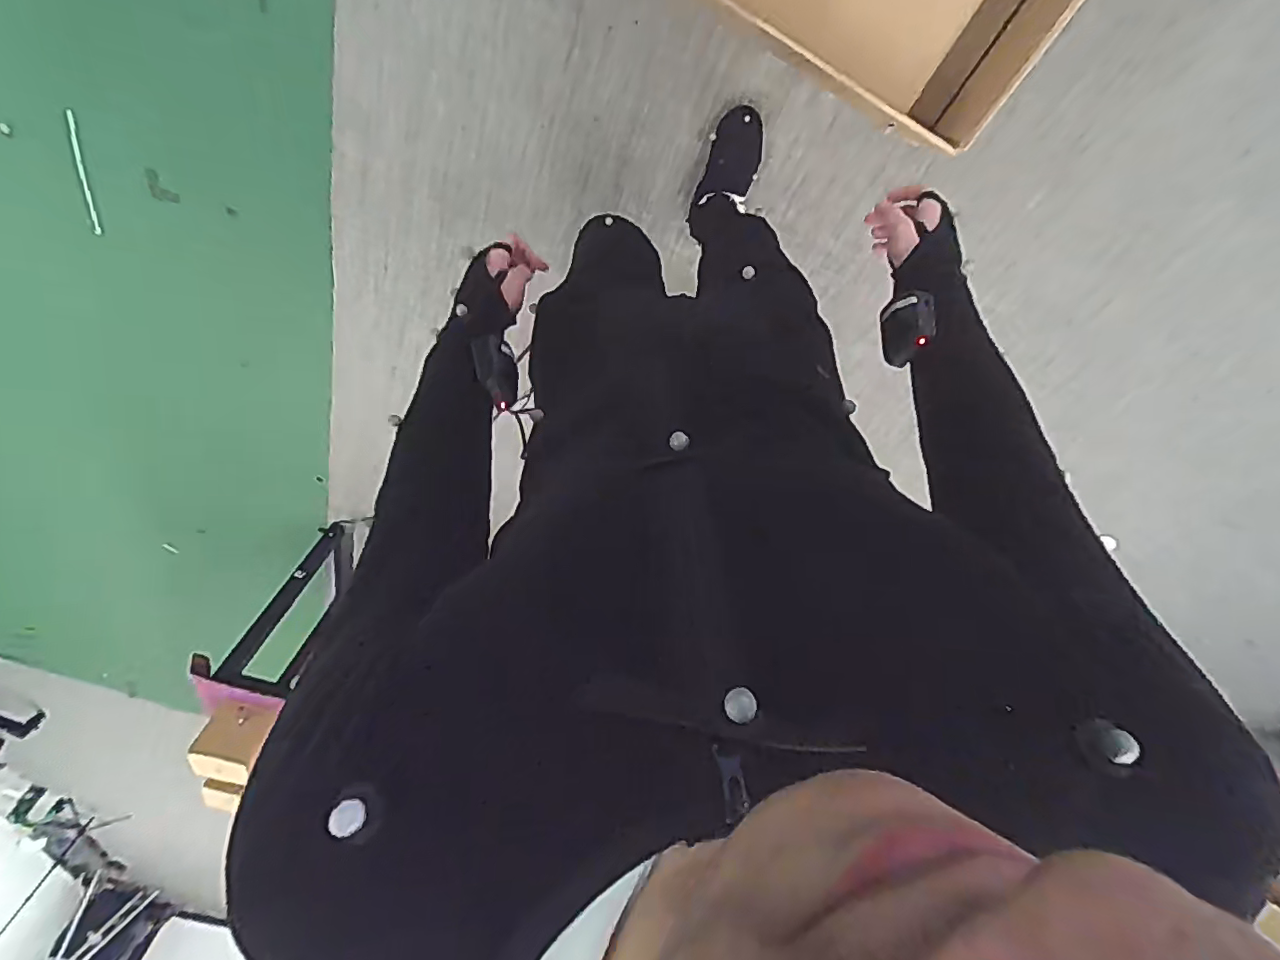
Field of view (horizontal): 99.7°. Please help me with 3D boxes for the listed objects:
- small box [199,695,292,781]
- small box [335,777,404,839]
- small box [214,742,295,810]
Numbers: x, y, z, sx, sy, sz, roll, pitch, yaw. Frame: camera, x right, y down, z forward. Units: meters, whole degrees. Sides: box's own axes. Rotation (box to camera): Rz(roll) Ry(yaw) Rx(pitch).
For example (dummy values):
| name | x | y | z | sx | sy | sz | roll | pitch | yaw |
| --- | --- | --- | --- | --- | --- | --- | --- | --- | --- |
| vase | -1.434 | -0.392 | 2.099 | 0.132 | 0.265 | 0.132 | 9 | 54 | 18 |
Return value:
| name | x | y | z | sx | sy | sz | roll | pitch | yaw |
| --- | --- | --- | --- | --- | --- | --- | --- | --- | --- |
| small box | -1.212 | 0.799 | 1.678 | 0.168 | 0.176 | 0.179 | 18 | 129 | -8 |
| small box | -0.957 | 1.138 | 1.921 | 0.168 | 0.176 | 0.179 | 20 | 128 | -9 |
| small box | -1.320 | 1.003 | 1.864 | 0.168 | 0.176 | 0.179 | 21 | 129 | -9 |
